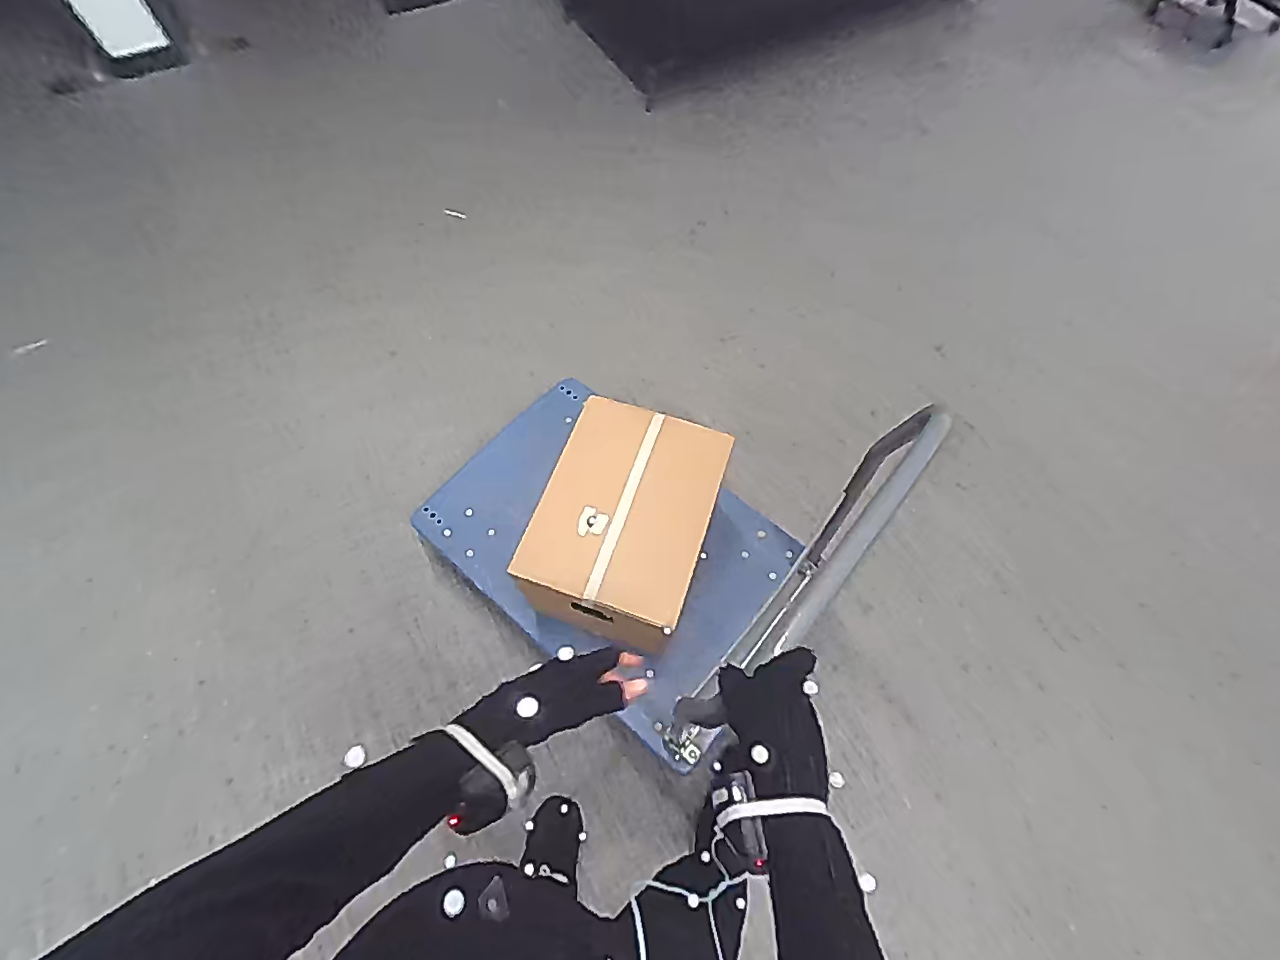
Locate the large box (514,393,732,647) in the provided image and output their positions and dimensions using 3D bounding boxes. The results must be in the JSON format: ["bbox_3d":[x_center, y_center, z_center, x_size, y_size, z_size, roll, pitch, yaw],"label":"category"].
[{"bbox_3d":[-0.023,0.094,1.153,0.320,0.320,0.408,18,66,8],"label":"large box"}]
